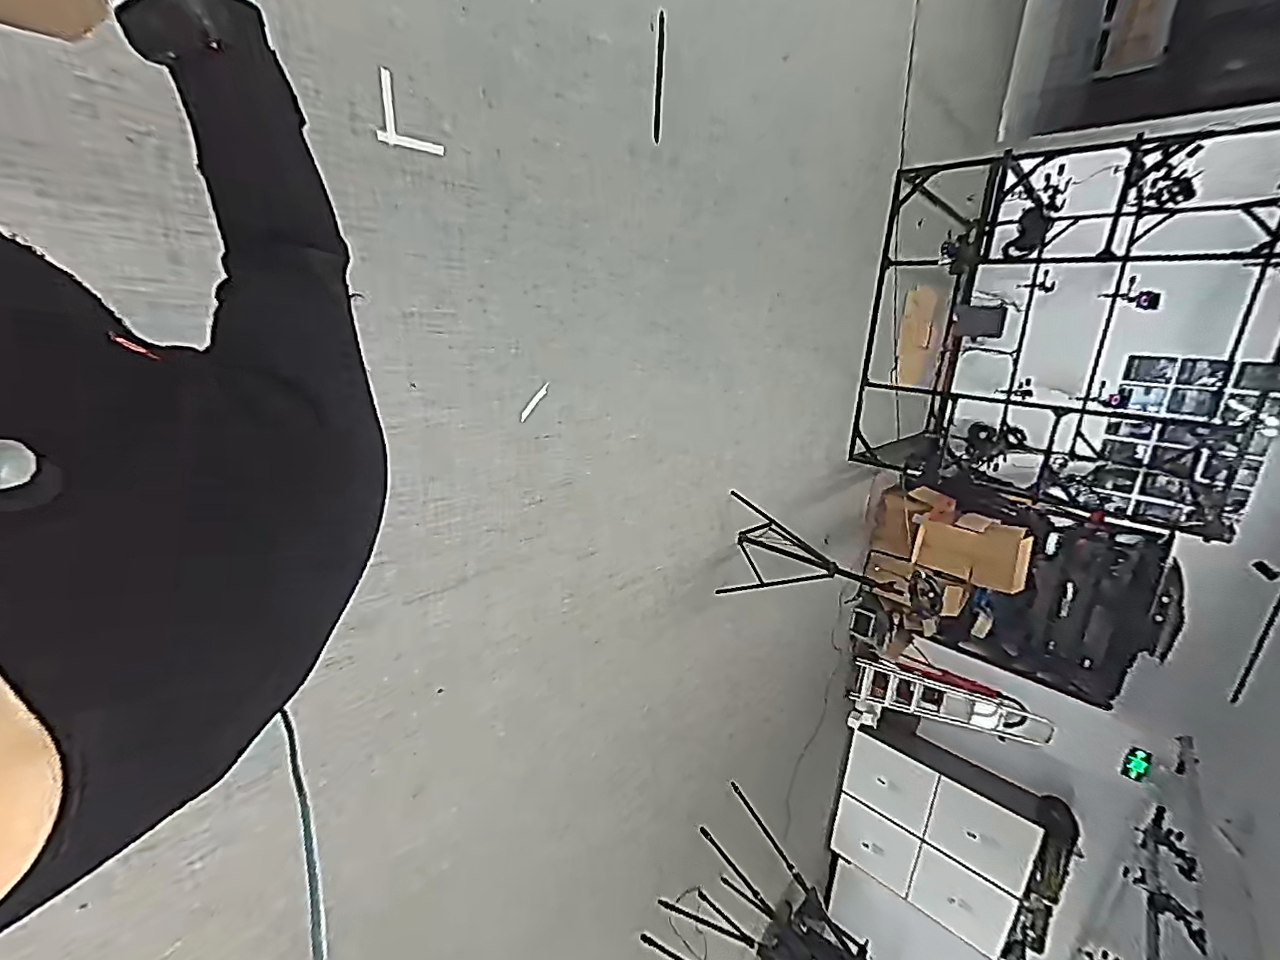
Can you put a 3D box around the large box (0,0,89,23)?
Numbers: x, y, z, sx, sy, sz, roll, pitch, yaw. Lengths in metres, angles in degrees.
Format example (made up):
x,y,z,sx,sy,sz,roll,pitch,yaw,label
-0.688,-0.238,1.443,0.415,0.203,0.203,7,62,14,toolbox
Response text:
x,y,z,sx,sy,sz,roll,pitch,yaw,label
-0.563,-0.488,0.246,0.408,0.320,0.320,-20,126,-47,large box
